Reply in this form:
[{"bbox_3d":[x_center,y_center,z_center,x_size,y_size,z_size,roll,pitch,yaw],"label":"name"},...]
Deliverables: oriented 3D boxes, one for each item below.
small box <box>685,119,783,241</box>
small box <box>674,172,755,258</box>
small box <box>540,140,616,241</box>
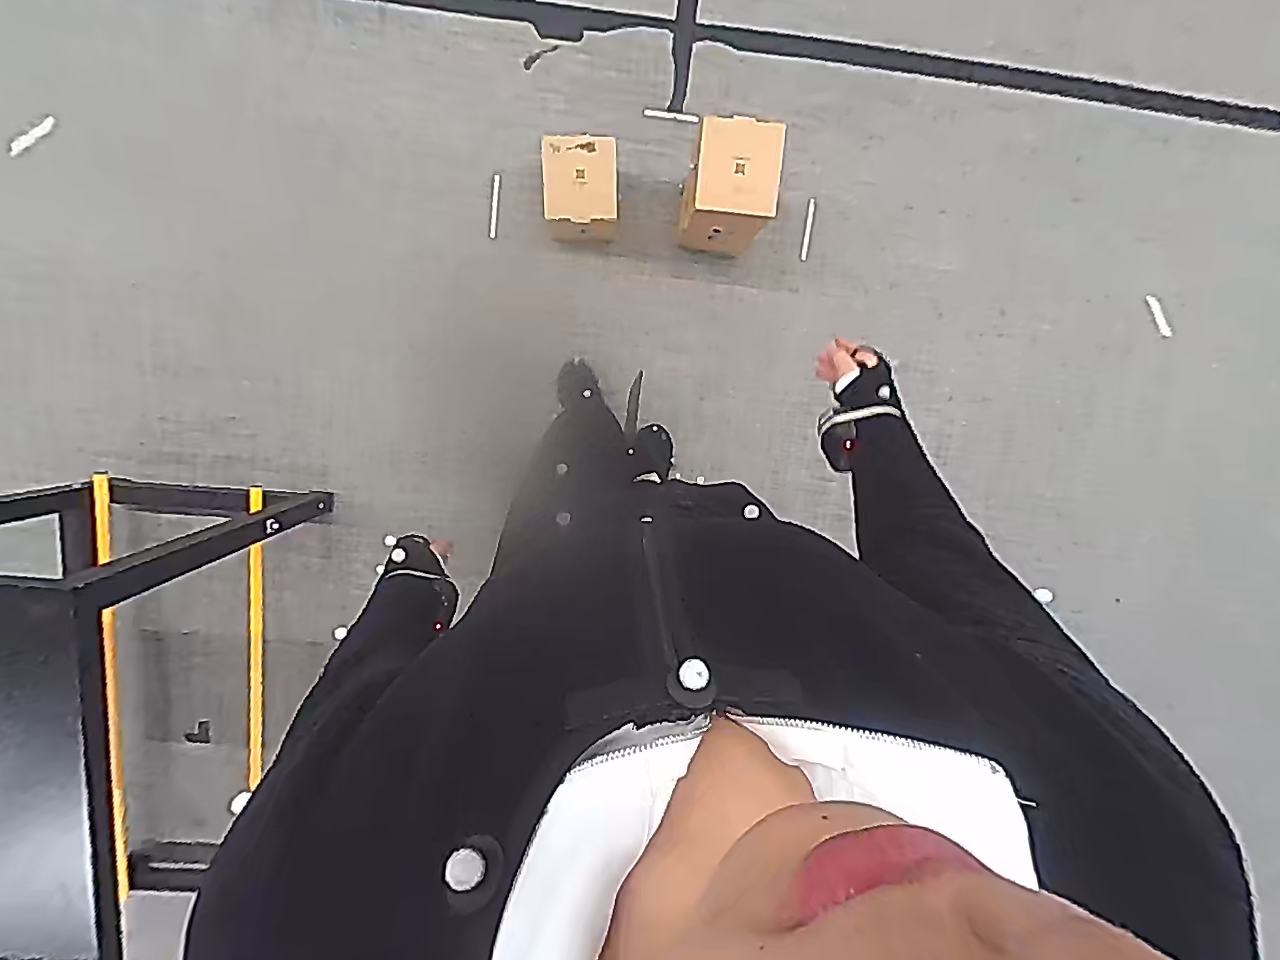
[{"bbox_3d":[0.190,-0.627,1.148,0.168,0.176,0.179,4,101,-3],"label":"small box"},{"bbox_3d":[0.187,-0.652,1.309,0.179,0.176,0.168,8,99,-6],"label":"small box"},{"bbox_3d":[-0.142,-0.677,1.285,0.168,0.176,0.179,0,100,-2],"label":"small box"}]
